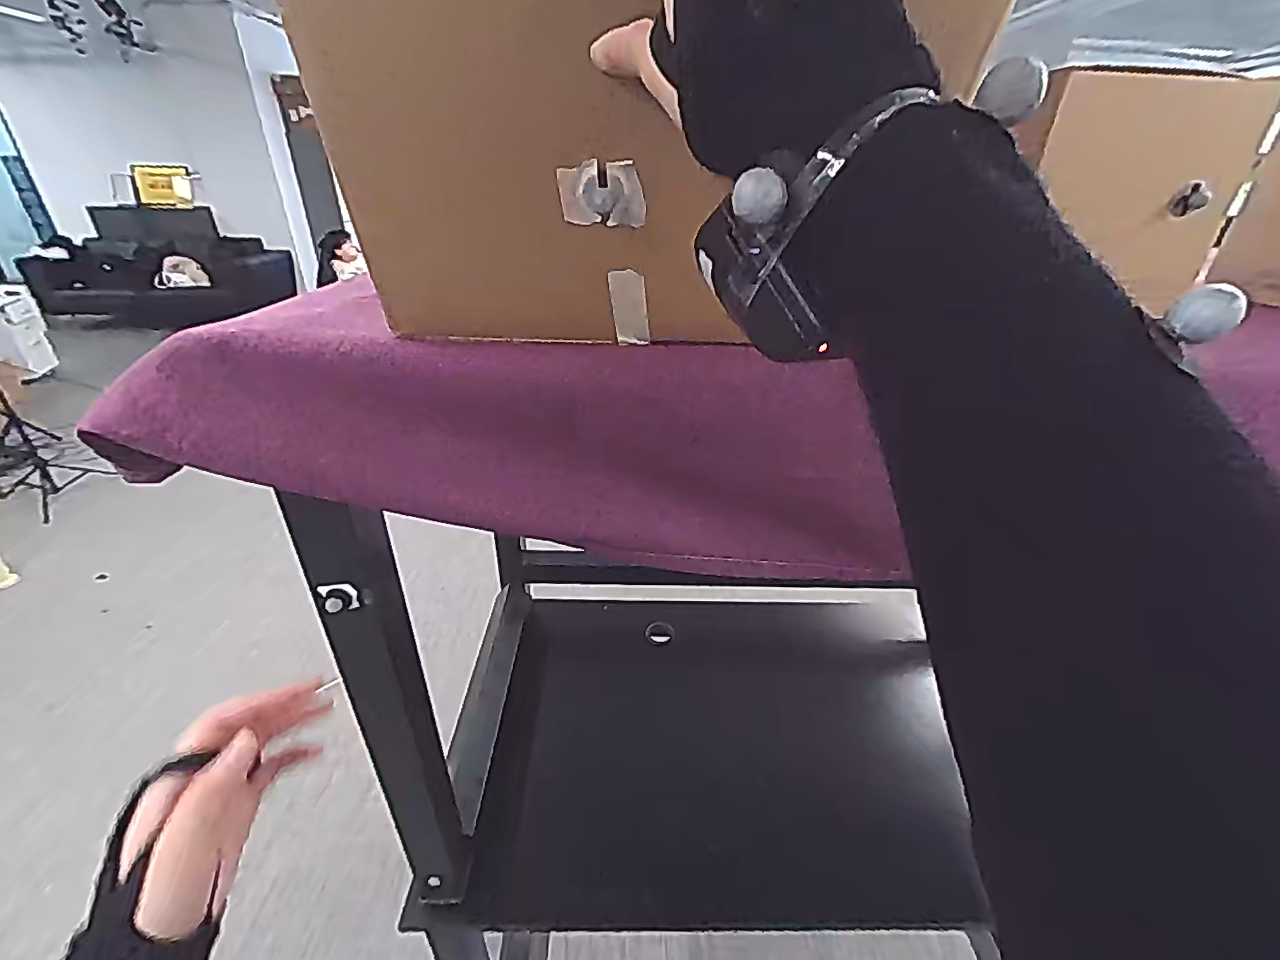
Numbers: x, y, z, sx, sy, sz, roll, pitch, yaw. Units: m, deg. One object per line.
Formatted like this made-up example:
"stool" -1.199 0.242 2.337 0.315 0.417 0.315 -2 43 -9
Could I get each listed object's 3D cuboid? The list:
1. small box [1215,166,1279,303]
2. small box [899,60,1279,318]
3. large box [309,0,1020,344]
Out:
"small box" 0.681 -0.232 0.462 0.179 0.176 0.168 1 28 -1
"small box" 0.357 -0.242 0.471 0.179 0.176 0.168 -2 29 -6
"large box" 0.003 -0.333 0.364 0.320 0.320 0.408 1 48 -3
